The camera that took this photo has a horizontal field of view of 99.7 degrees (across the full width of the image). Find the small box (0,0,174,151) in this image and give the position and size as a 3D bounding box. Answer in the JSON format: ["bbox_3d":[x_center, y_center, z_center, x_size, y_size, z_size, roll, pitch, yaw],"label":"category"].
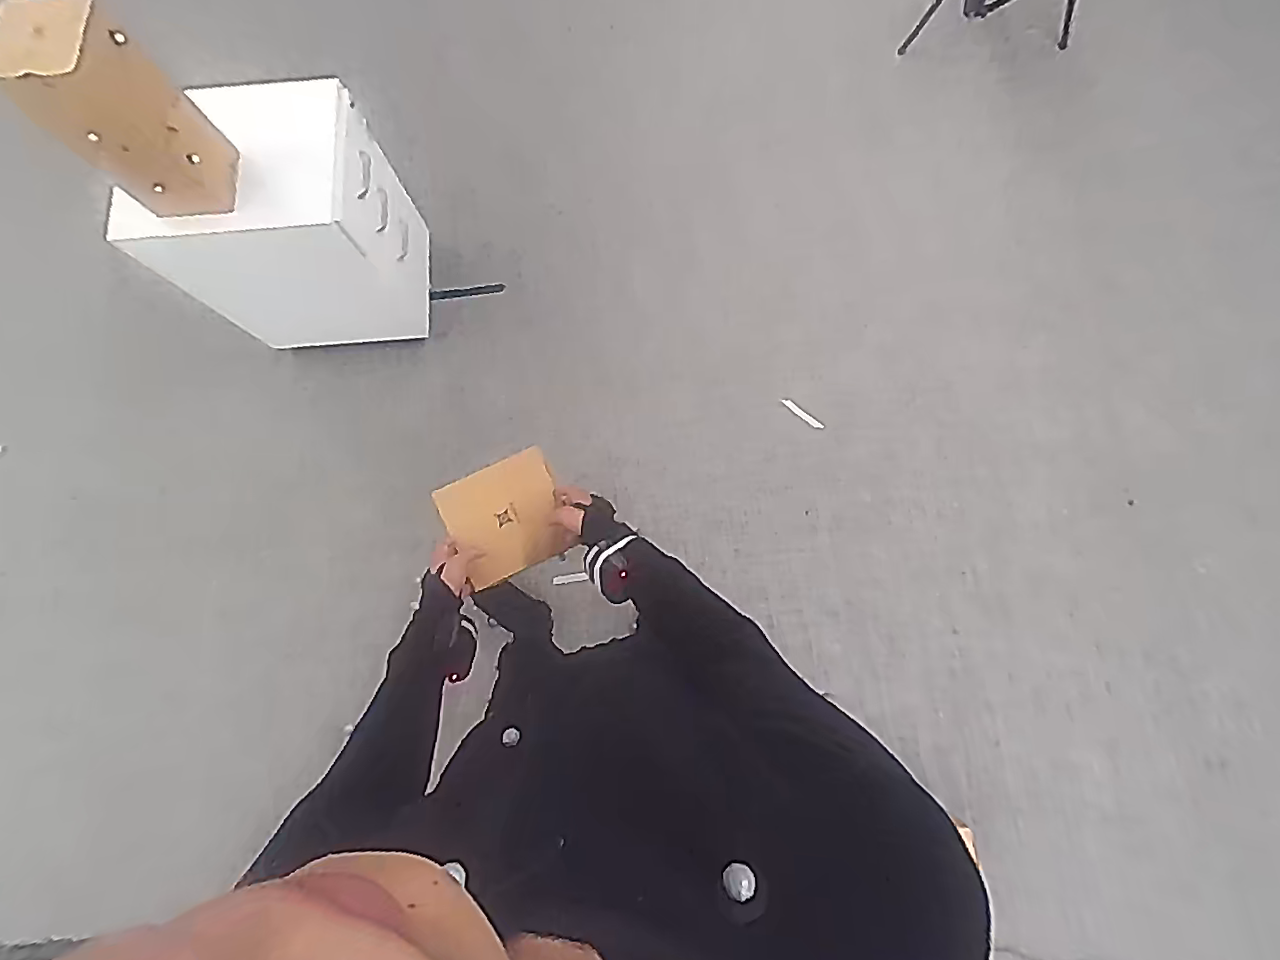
[{"bbox_3d":[-1.006,-0.740,0.987,0.168,0.176,0.179,-2,78,1],"label":"small box"}]

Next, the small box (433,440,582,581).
[{"bbox_3d":[-0.207,0.053,0.895,0.179,0.176,0.168,-25,87,-6],"label":"small box"}]
